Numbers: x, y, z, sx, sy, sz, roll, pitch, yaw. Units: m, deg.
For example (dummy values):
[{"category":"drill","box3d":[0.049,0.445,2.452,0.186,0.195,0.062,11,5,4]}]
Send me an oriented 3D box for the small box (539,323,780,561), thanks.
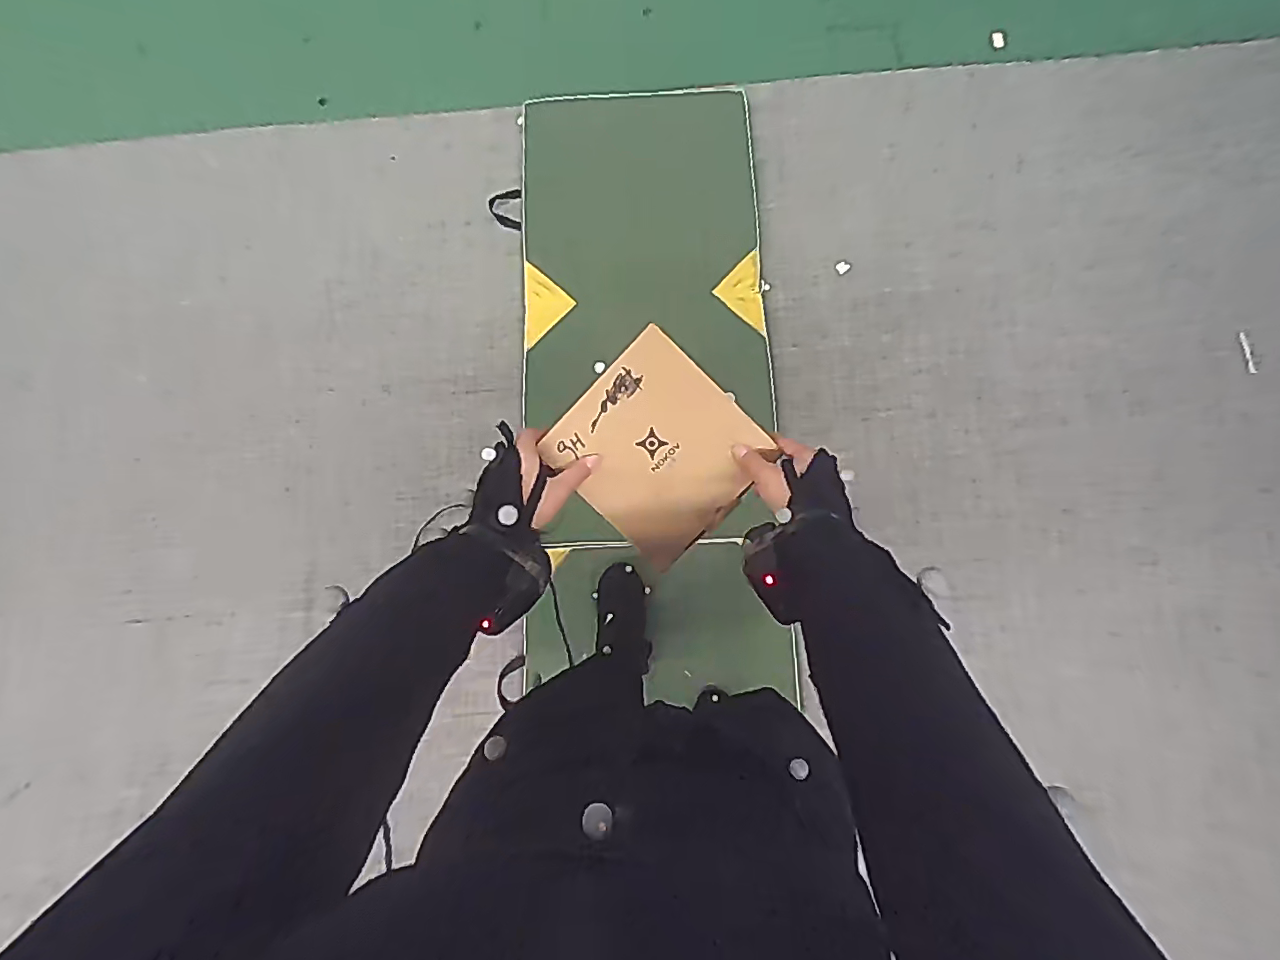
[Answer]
[{"category":"small box","box3d":[0.022,-0.044,0.598,0.179,0.176,0.168,44,96,-3]}]
